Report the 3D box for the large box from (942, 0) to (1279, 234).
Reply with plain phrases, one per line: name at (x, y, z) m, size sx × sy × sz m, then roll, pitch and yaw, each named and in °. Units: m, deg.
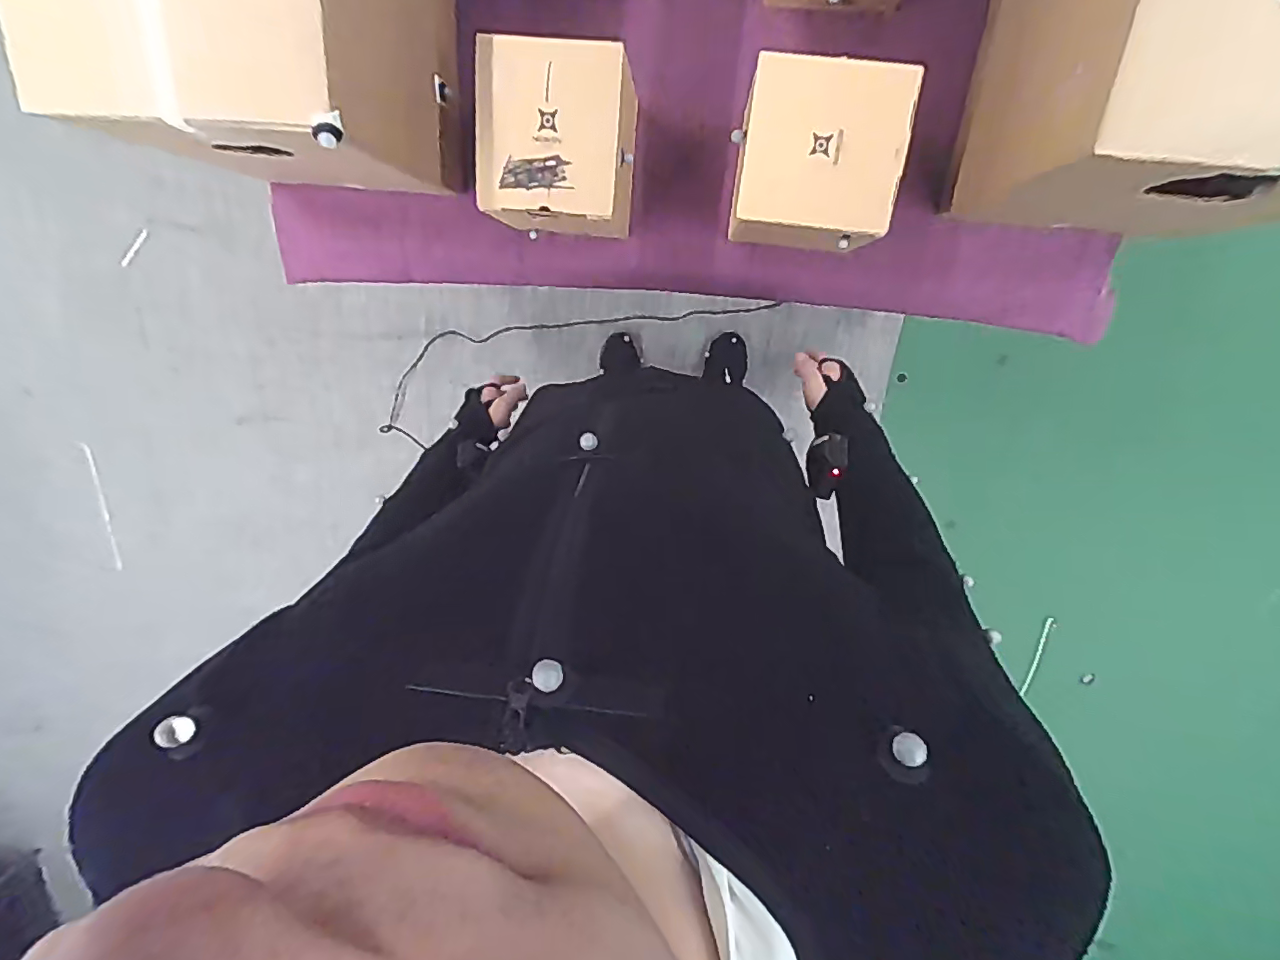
large box at (0.562, -0.487, 0.532) m, size 0.320 × 0.320 × 0.408 m, roll 7°, pitch 109°, yaw 4°
